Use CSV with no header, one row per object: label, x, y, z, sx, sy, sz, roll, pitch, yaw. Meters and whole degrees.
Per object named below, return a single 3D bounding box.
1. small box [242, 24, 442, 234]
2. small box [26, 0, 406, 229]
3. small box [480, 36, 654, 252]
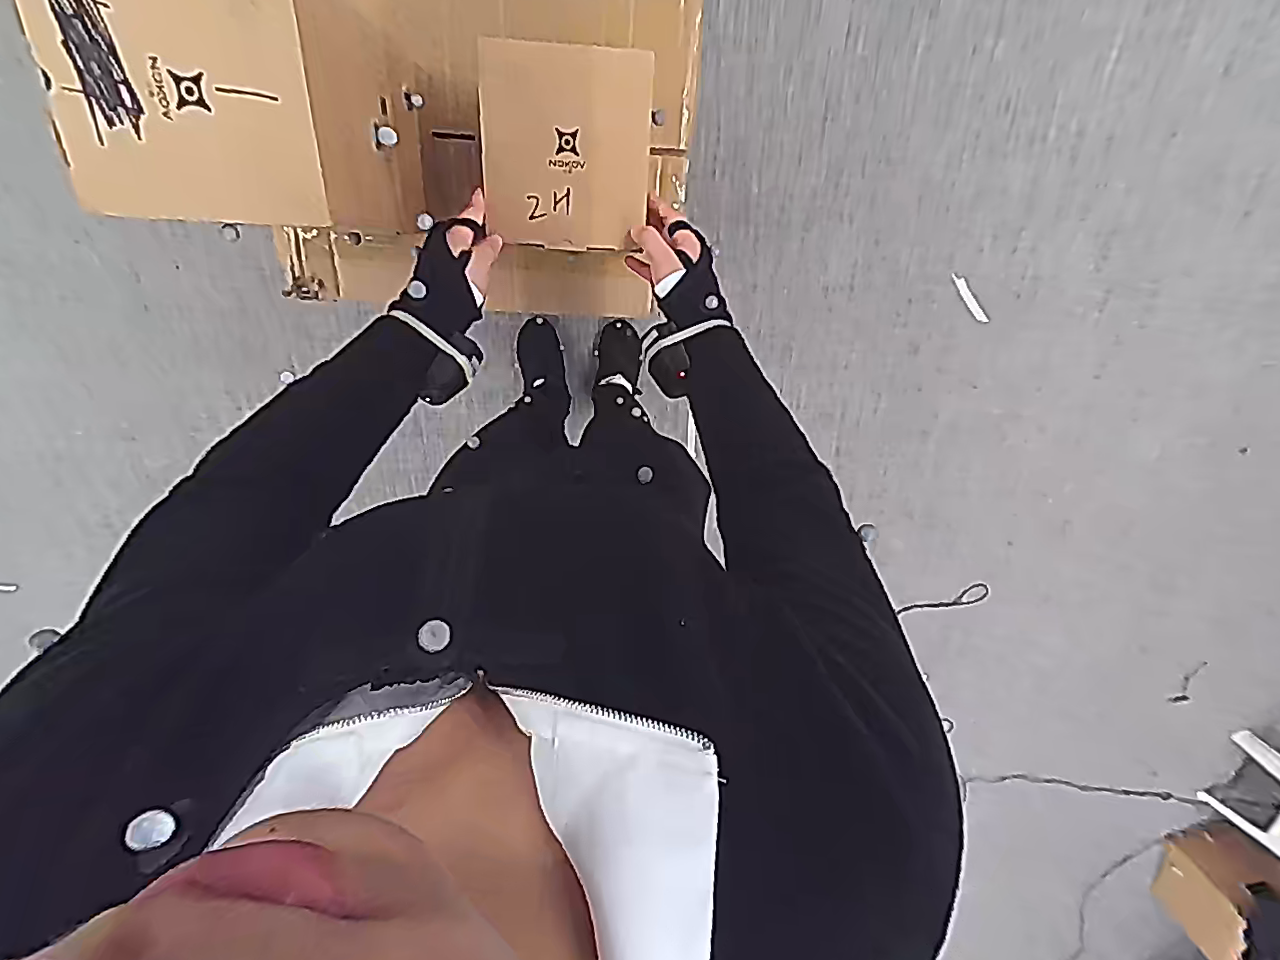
small box,-0.328,-0.371,0.592,0.168,0.176,0.179,2,115,-4
small box,-0.316,-0.302,0.443,0.179,0.176,0.168,1,114,-5
small box,-0.076,-0.357,0.608,0.168,0.176,0.179,3,113,-2
